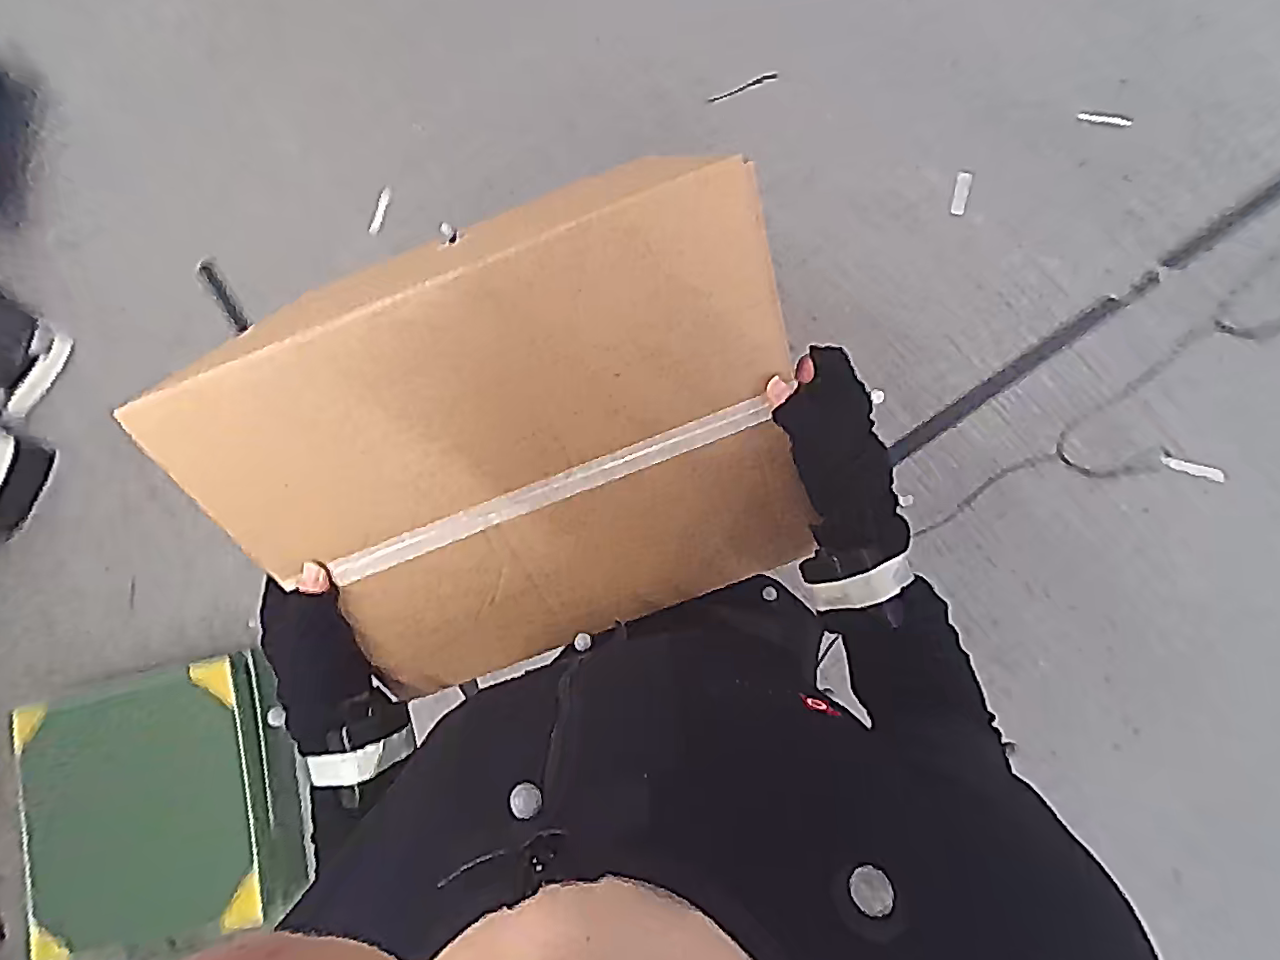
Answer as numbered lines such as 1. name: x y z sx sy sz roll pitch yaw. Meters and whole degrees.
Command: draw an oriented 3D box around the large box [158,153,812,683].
1. large box: -0.102 -0.078 0.540 0.408 0.320 0.320 -22 122 3
